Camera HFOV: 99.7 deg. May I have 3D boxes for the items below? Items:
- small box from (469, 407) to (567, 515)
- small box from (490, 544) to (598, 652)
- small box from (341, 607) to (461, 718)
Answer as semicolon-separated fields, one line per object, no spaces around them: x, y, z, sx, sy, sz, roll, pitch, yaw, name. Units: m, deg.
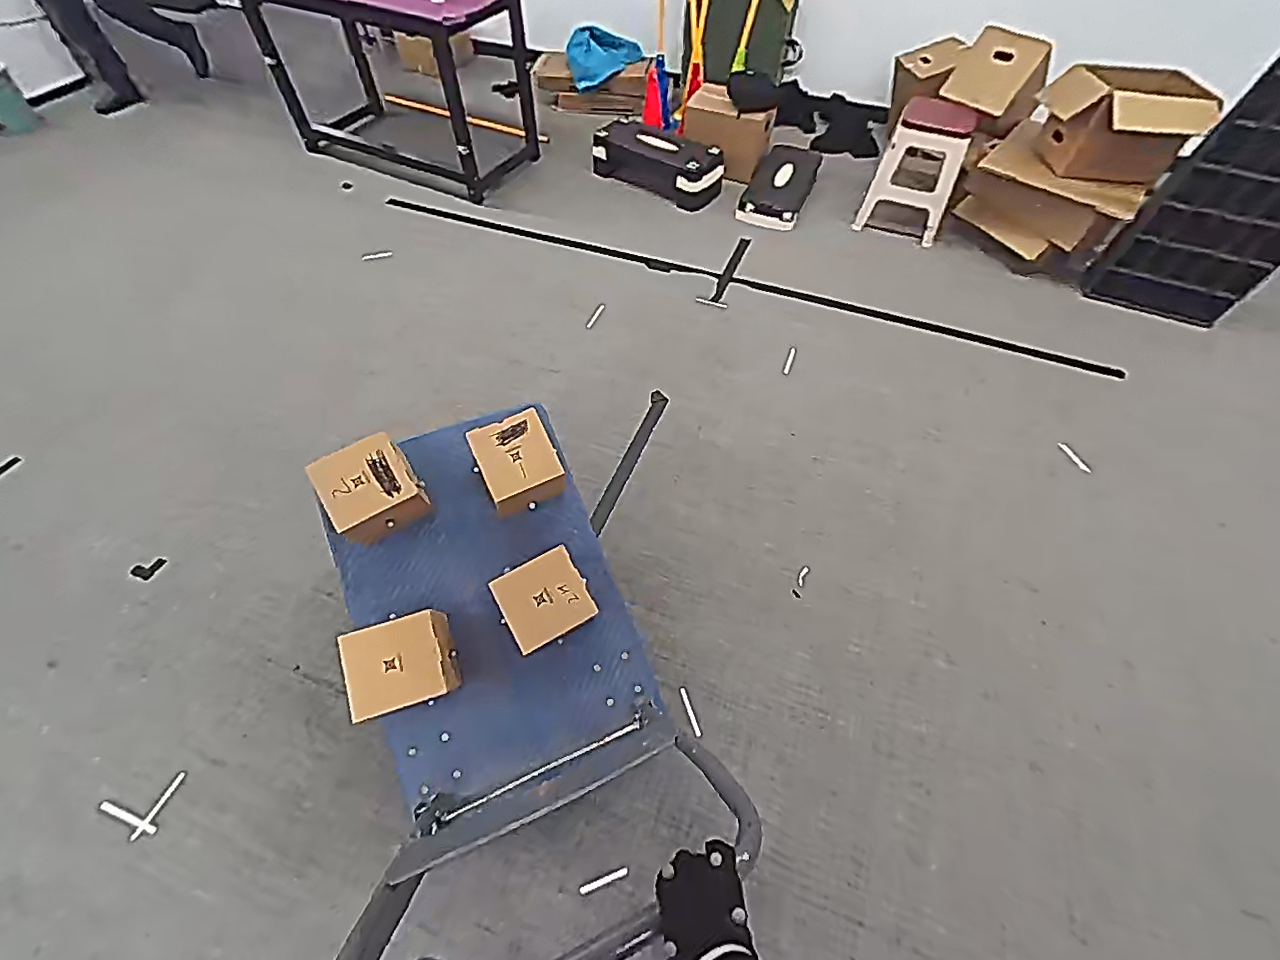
-0.284;-0.039;1.270;0.168;0.176;0.179;-24;79;-14;small box
-0.207;0.263;1.190;0.179;0.176;0.168;-27;79;-15;small box
-0.485;0.374;1.116;0.179;0.176;0.168;-15;76;-14;small box
